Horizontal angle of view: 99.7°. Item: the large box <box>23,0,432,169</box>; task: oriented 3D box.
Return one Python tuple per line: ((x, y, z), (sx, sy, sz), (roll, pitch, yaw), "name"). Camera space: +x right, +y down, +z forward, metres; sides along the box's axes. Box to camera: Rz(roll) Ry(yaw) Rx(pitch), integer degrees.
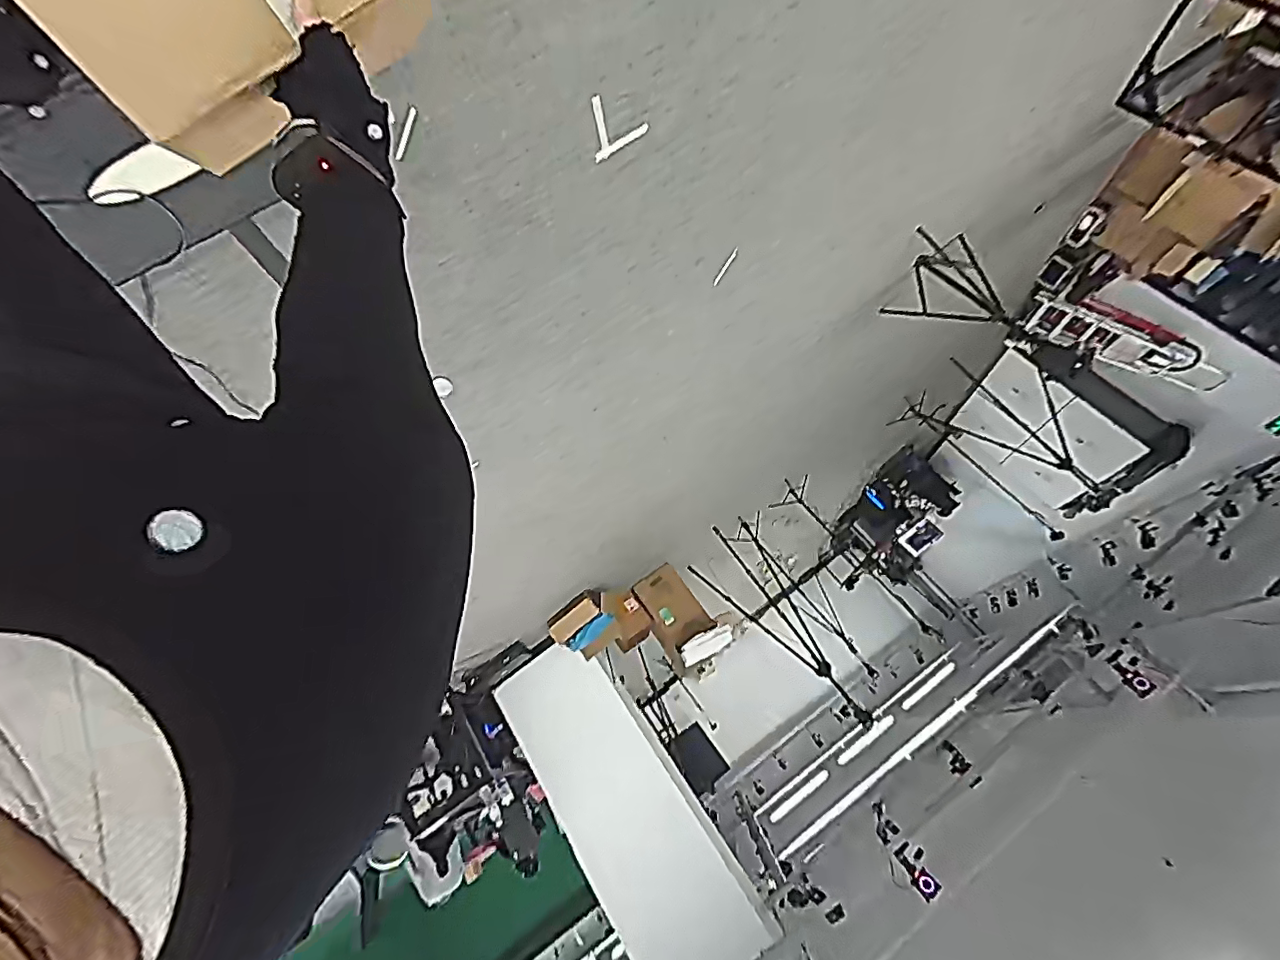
((-0.448, -0.567, 0.479), (0.320, 0.320, 0.408), (-40, 126, -7), "large box")
